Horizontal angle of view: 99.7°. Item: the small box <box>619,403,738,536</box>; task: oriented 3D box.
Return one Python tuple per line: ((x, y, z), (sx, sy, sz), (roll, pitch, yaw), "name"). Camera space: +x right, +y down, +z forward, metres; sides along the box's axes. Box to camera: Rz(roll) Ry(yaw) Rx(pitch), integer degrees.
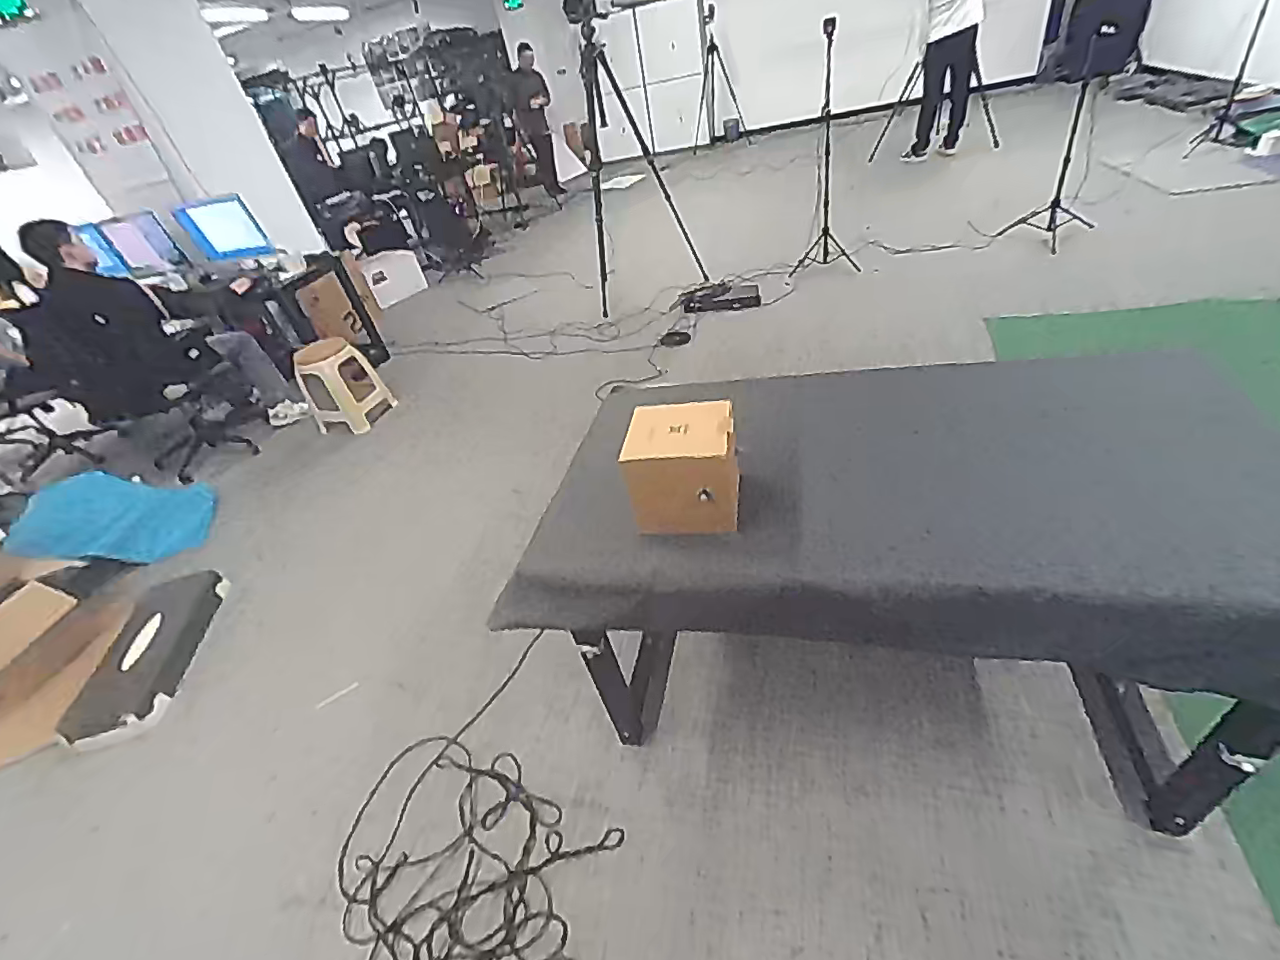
((0.078, -0.016, 0.946), (0.179, 0.176, 0.168), (-3, 37, 14), "small box")
